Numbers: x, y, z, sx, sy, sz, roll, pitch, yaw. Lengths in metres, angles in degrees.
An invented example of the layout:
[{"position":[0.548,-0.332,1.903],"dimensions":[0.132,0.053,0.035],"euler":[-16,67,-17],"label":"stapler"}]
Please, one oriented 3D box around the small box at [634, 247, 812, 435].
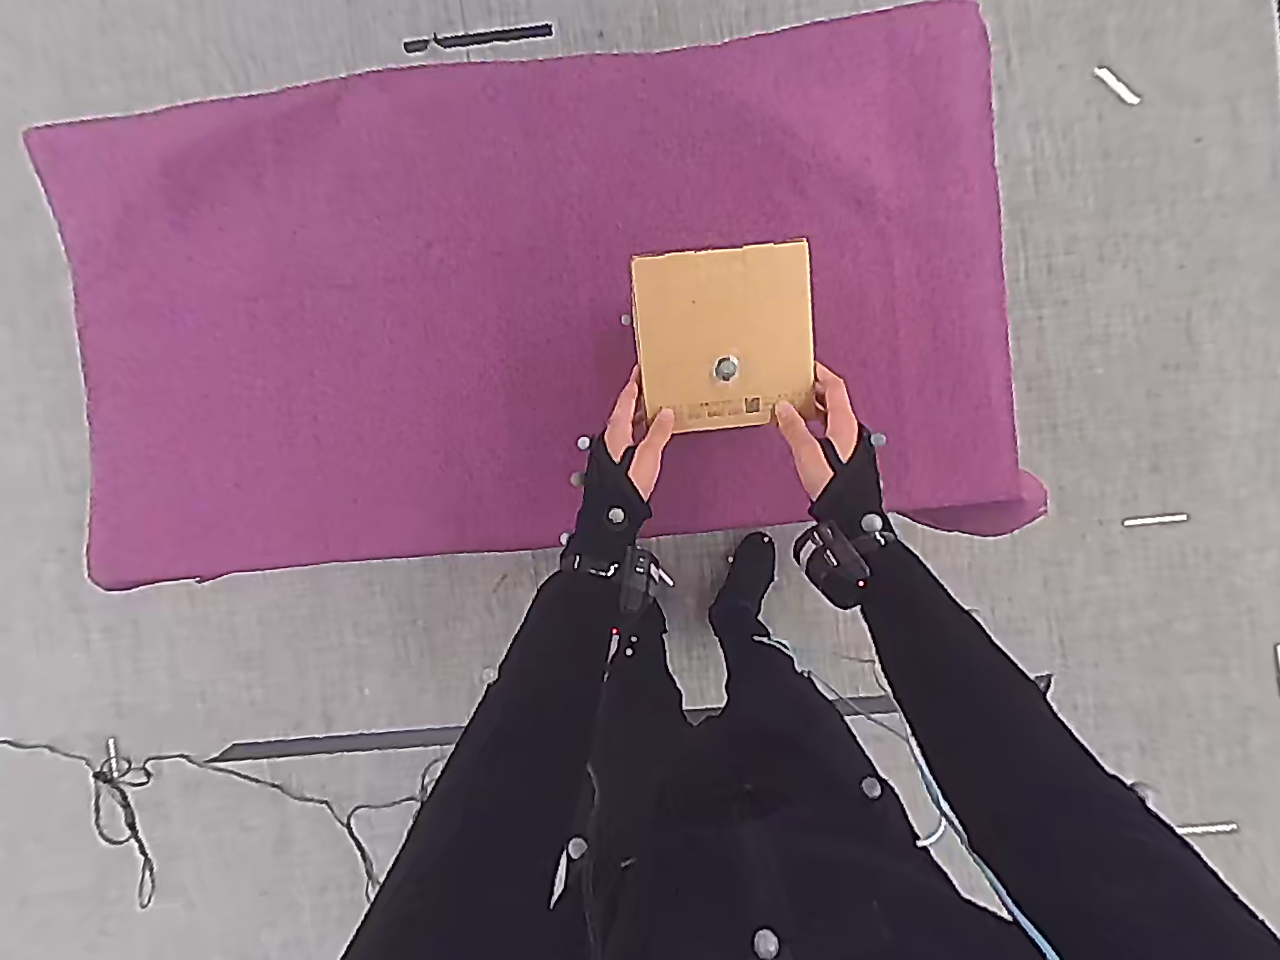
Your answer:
[{"position":[0.081,-0.139,0.596],"dimensions":[0.168,0.179,0.176],"euler":[-5,98,0],"label":"small box"}]
